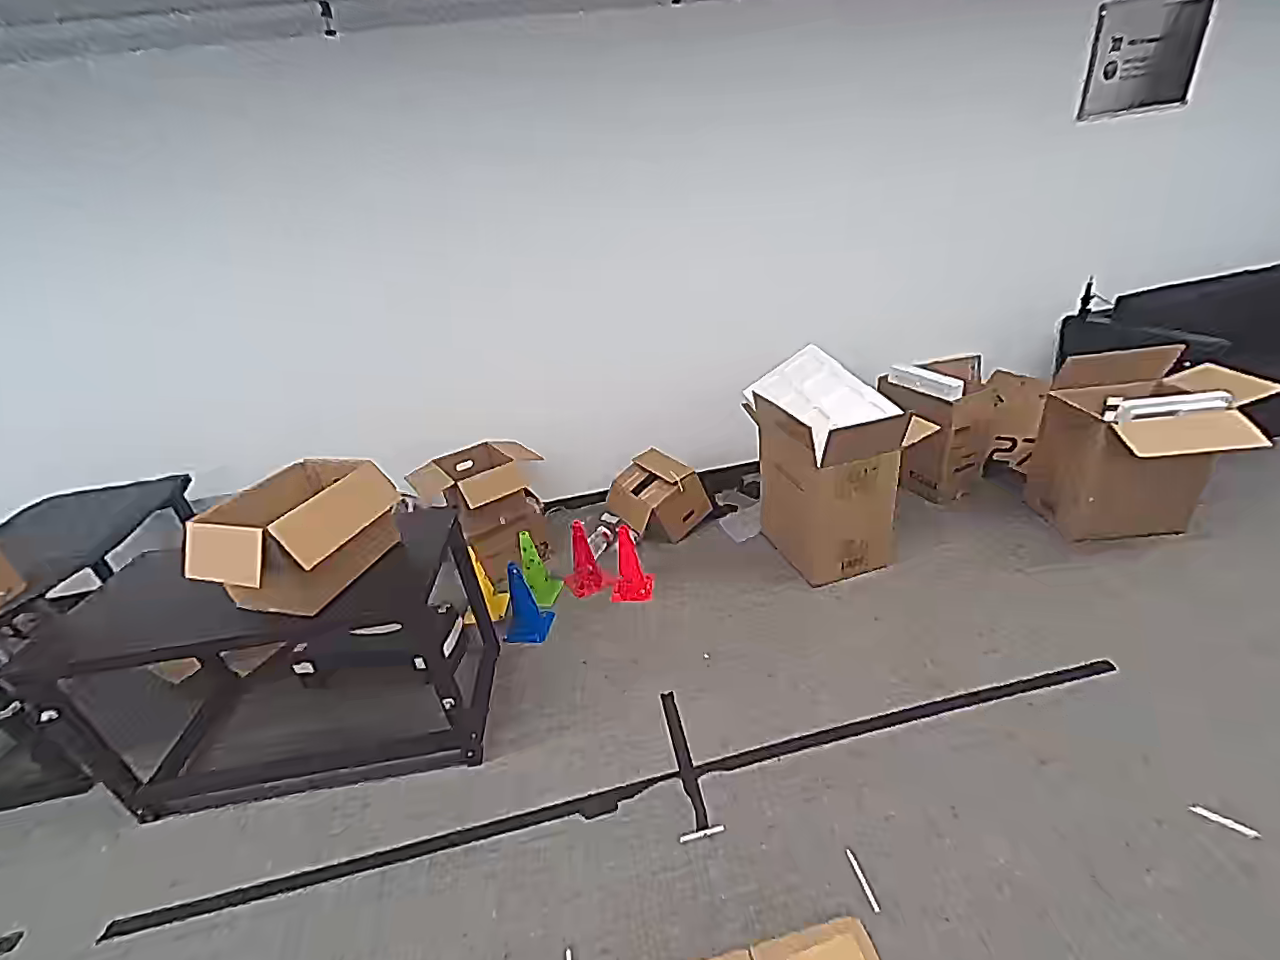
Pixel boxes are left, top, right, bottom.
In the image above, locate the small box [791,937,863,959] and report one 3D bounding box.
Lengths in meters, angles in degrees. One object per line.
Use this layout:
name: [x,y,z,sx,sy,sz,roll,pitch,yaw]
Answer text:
small box: [0.427,1.149,1.161,0.168,0.176,0.179,-13,27,-11]
